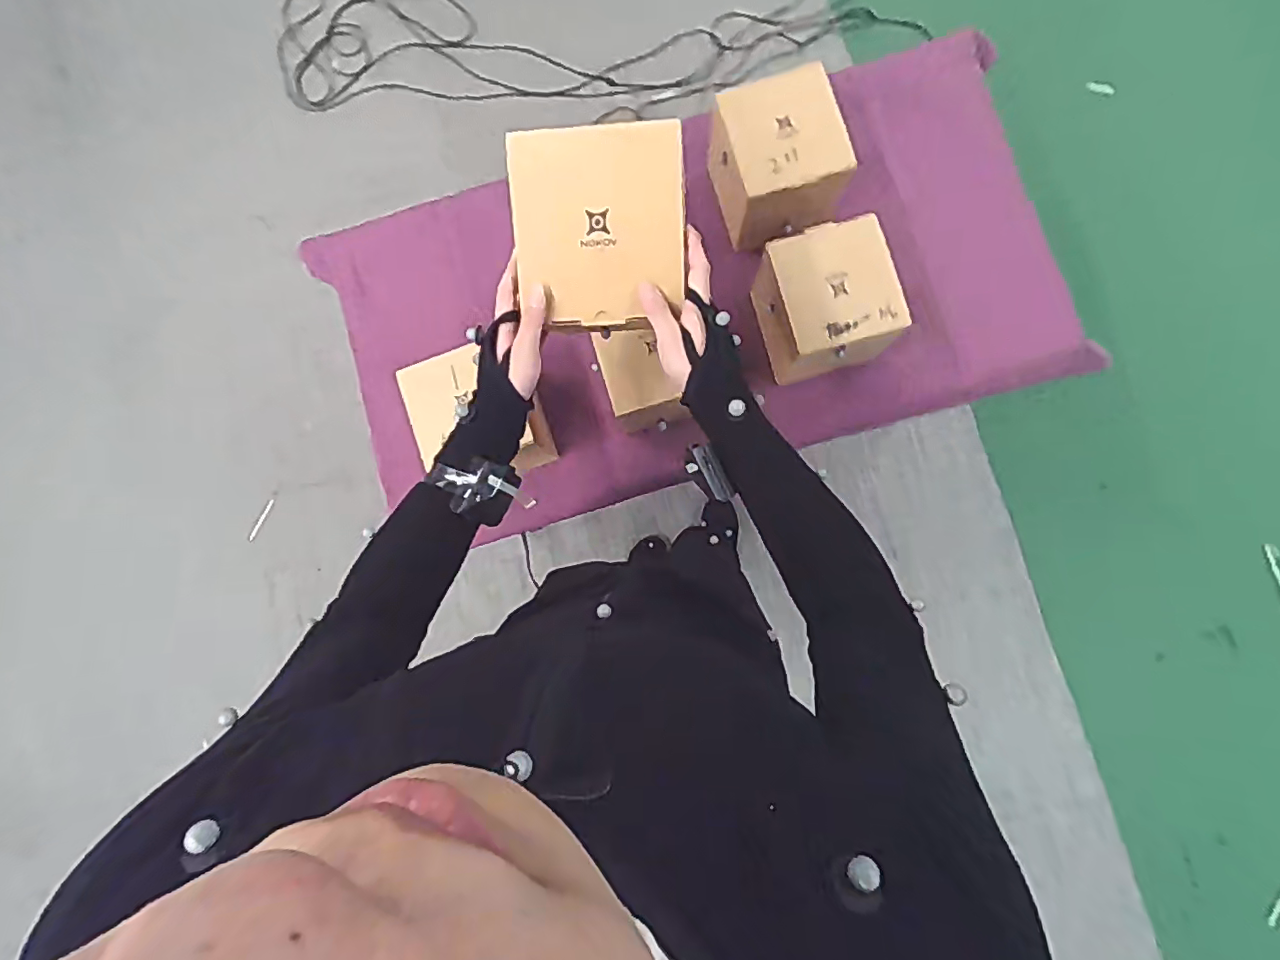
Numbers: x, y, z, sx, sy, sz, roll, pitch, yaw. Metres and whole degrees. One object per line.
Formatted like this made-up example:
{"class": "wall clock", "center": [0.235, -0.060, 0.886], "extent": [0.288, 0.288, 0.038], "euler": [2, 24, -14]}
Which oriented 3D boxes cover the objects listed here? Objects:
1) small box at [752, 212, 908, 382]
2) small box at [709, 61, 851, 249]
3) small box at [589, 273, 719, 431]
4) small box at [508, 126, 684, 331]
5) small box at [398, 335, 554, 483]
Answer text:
{"class": "small box", "center": [0.283, -0.275, 0.850], "extent": [0.168, 0.176, 0.179], "euler": [-15, 83, 3]}
{"class": "small box", "center": [0.213, -0.512, 0.874], "extent": [0.168, 0.176, 0.179], "euler": [-16, 85, 3]}
{"class": "small box", "center": [0.019, -0.193, 0.864], "extent": [0.168, 0.176, 0.179], "euler": [-17, 85, 3]}
{"class": "small box", "center": [-0.036, -0.259, 0.598], "extent": [0.168, 0.176, 0.179], "euler": [0, 105, 6]}
{"class": "small box", "center": [-0.252, -0.101, 0.872], "extent": [0.168, 0.176, 0.179], "euler": [-20, 82, 2]}
